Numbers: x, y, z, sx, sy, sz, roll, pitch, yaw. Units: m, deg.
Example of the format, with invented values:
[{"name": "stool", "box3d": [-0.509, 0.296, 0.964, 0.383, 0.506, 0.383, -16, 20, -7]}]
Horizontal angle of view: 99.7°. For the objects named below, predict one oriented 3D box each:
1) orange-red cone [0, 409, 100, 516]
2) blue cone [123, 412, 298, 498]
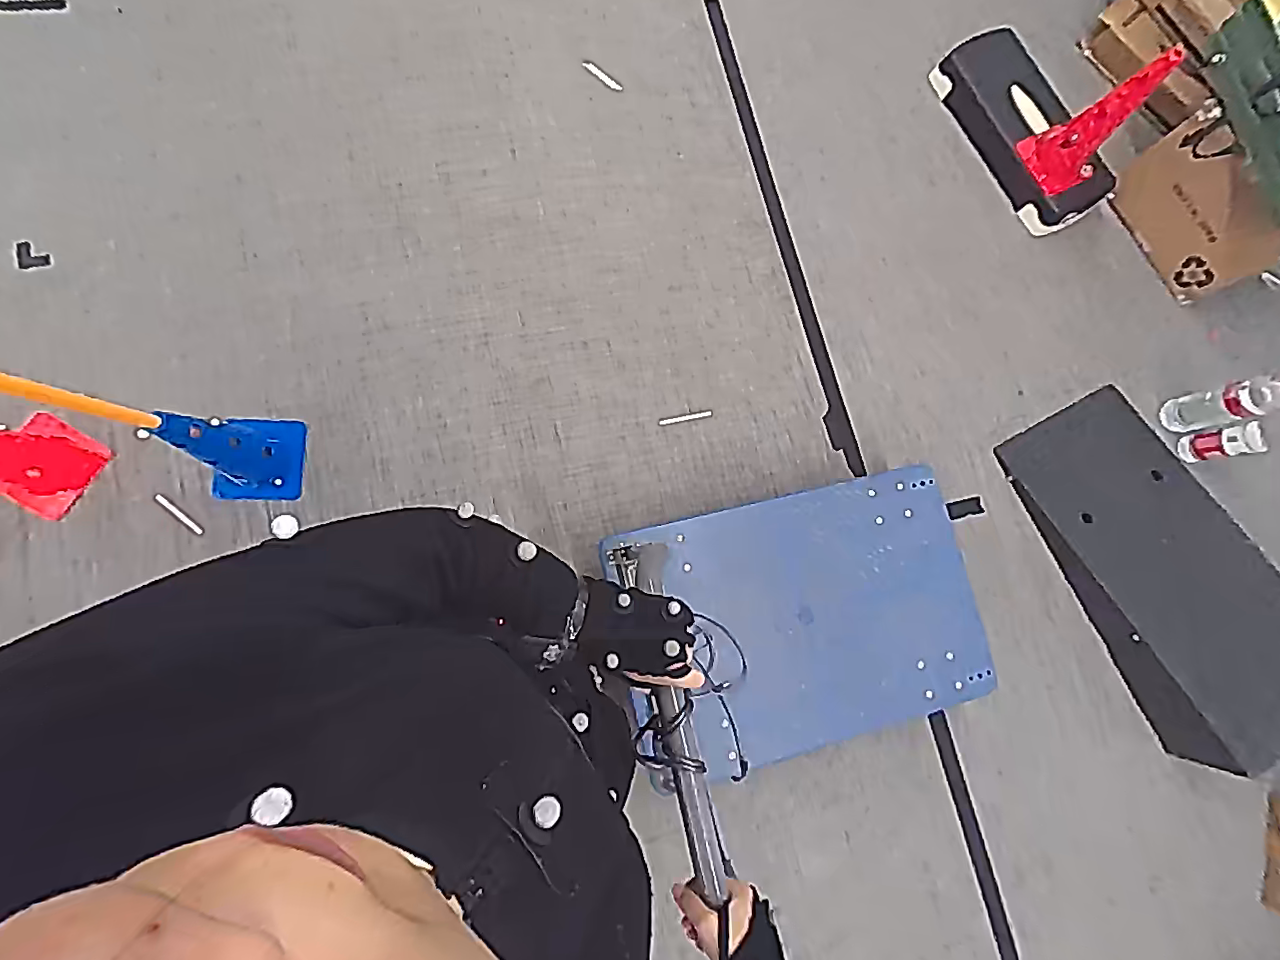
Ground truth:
[{"name": "orange-red cone", "box3d": [-1.352, -0.065, 1.070, 0.199, 0.360, 0.198, 33, 79, -3]}, {"name": "blue cone", "box3d": [-0.915, -0.077, 1.147, 0.192, 0.380, 0.193, 3, 80, -7]}]
